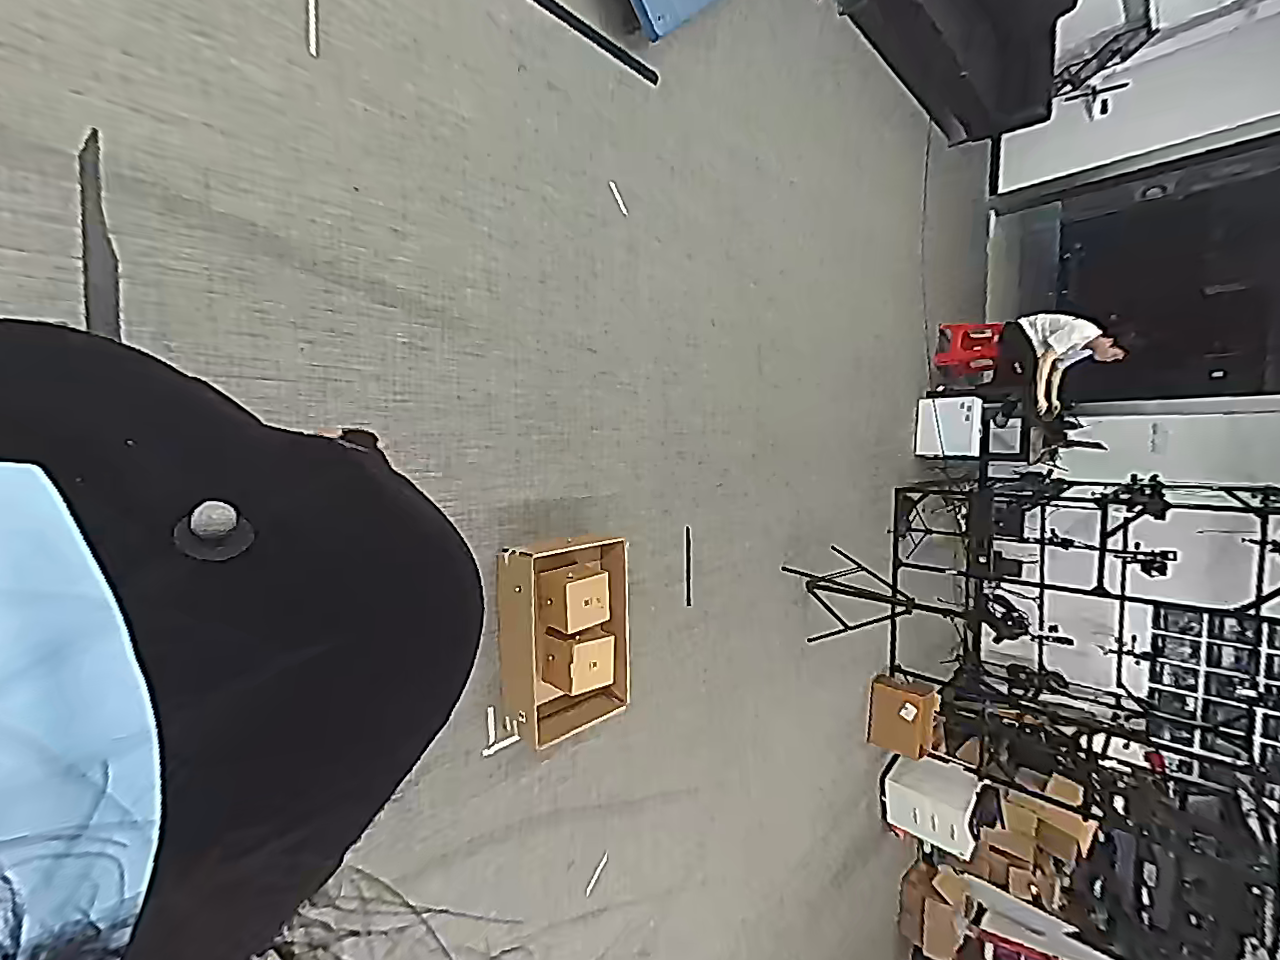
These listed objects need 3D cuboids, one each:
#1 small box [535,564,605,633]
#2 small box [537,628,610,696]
[{"bbox_3d":[-0.237,0.387,1.792,0.179,0.176,0.168,-8,100,-45],"label":"small box"},{"bbox_3d":[-0.223,0.602,1.825,0.179,0.176,0.168,2,91,-45],"label":"small box"}]
